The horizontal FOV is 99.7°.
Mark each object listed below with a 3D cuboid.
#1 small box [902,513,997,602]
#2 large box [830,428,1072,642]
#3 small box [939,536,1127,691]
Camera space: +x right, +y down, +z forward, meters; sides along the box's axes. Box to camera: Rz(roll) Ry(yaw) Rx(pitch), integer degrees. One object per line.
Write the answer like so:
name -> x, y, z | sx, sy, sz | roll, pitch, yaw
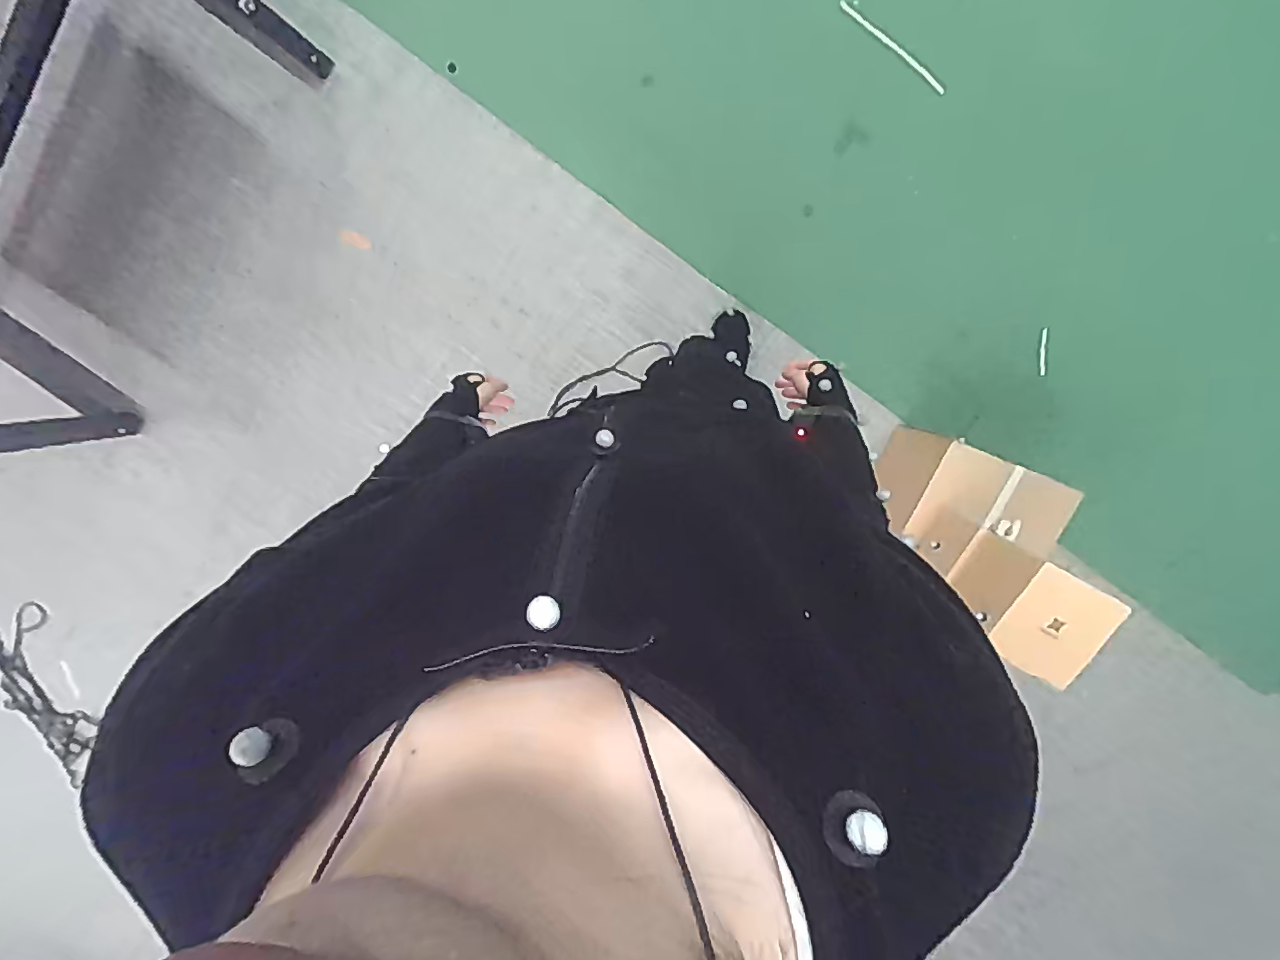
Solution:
small box -> 0.679, 0.183, 1.111 | 0.179, 0.176, 0.168 | 27, 103, -2
large box -> 0.731, 0.120, 1.346 | 0.320, 0.320, 0.408 | 22, 101, -2
small box -> 0.673, 0.223, 0.953 | 0.168, 0.176, 0.179 | 29, 103, -2
